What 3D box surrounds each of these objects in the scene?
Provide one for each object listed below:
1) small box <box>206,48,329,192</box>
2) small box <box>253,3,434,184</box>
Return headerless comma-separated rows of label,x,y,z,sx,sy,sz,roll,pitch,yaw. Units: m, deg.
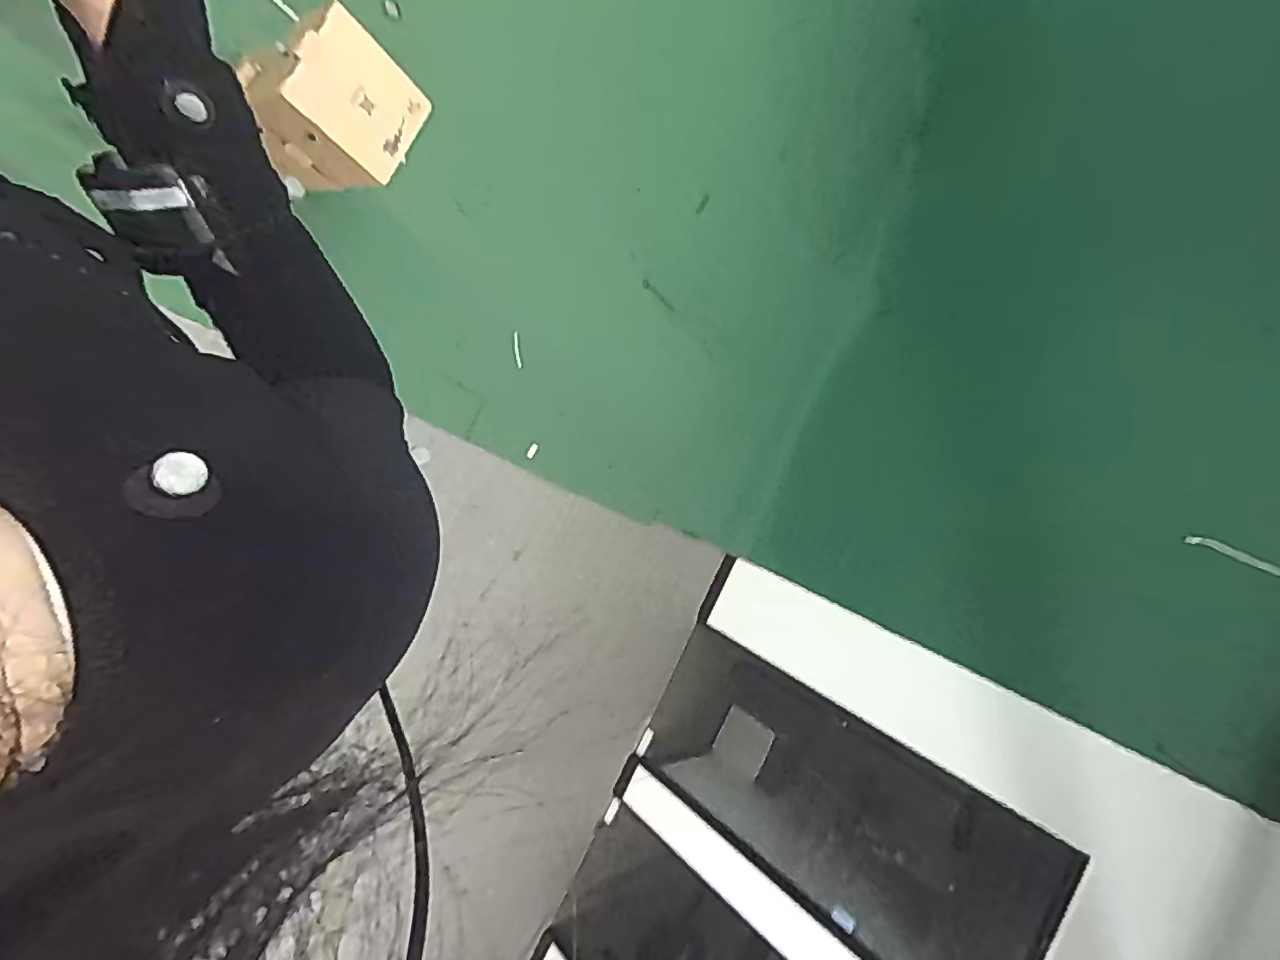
small box,-0.719,-0.716,1.088,0.168,0.176,0.179,-61,143,-6
small box,-0.485,-0.610,0.883,0.179,0.176,0.168,35,82,-52
